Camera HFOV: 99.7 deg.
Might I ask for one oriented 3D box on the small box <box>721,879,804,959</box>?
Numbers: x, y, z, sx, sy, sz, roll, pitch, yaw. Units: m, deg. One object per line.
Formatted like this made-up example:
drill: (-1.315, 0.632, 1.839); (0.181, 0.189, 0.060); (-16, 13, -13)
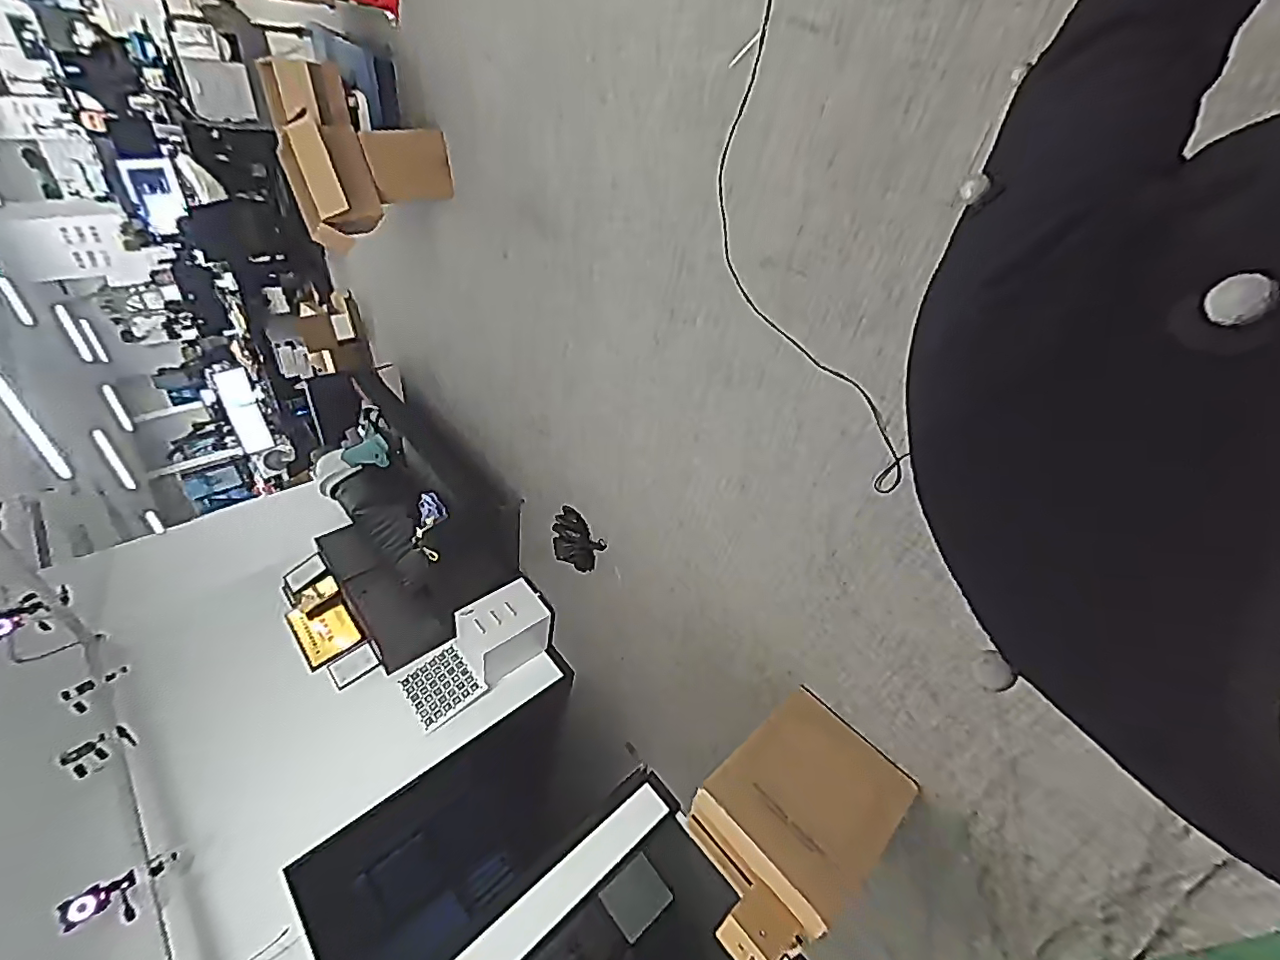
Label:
small box: (0.396, 1.450, 1.742); (0.179, 0.176, 0.168); (37, 128, 33)
